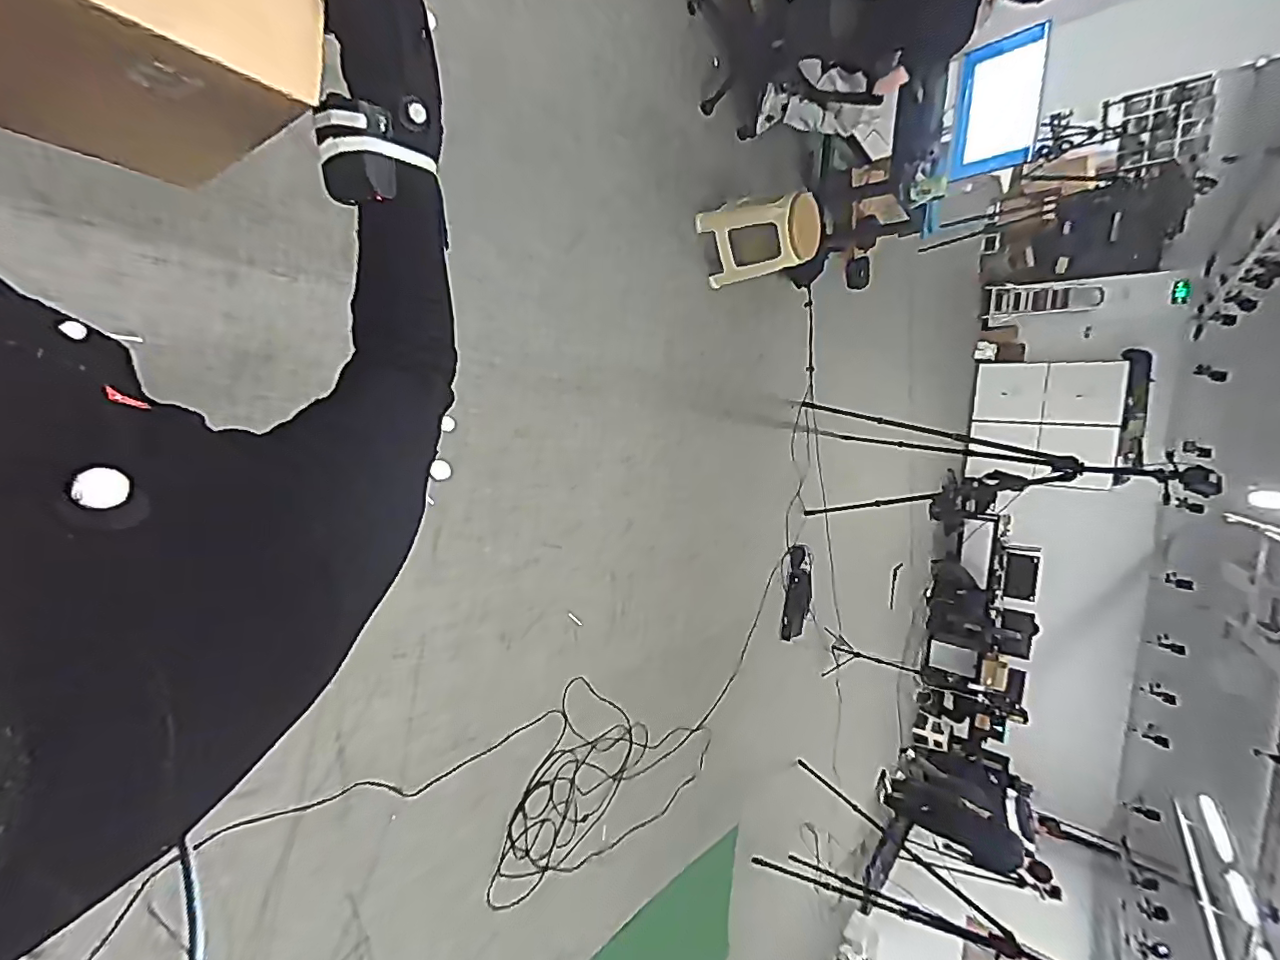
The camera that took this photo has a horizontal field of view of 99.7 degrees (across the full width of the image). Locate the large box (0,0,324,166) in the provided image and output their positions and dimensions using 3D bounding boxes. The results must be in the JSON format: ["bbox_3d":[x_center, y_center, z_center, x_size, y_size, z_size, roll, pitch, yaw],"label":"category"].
[{"bbox_3d":[-0.450,-0.442,0.301,0.408,0.320,0.320,-2,102,-51],"label":"large box"}]
